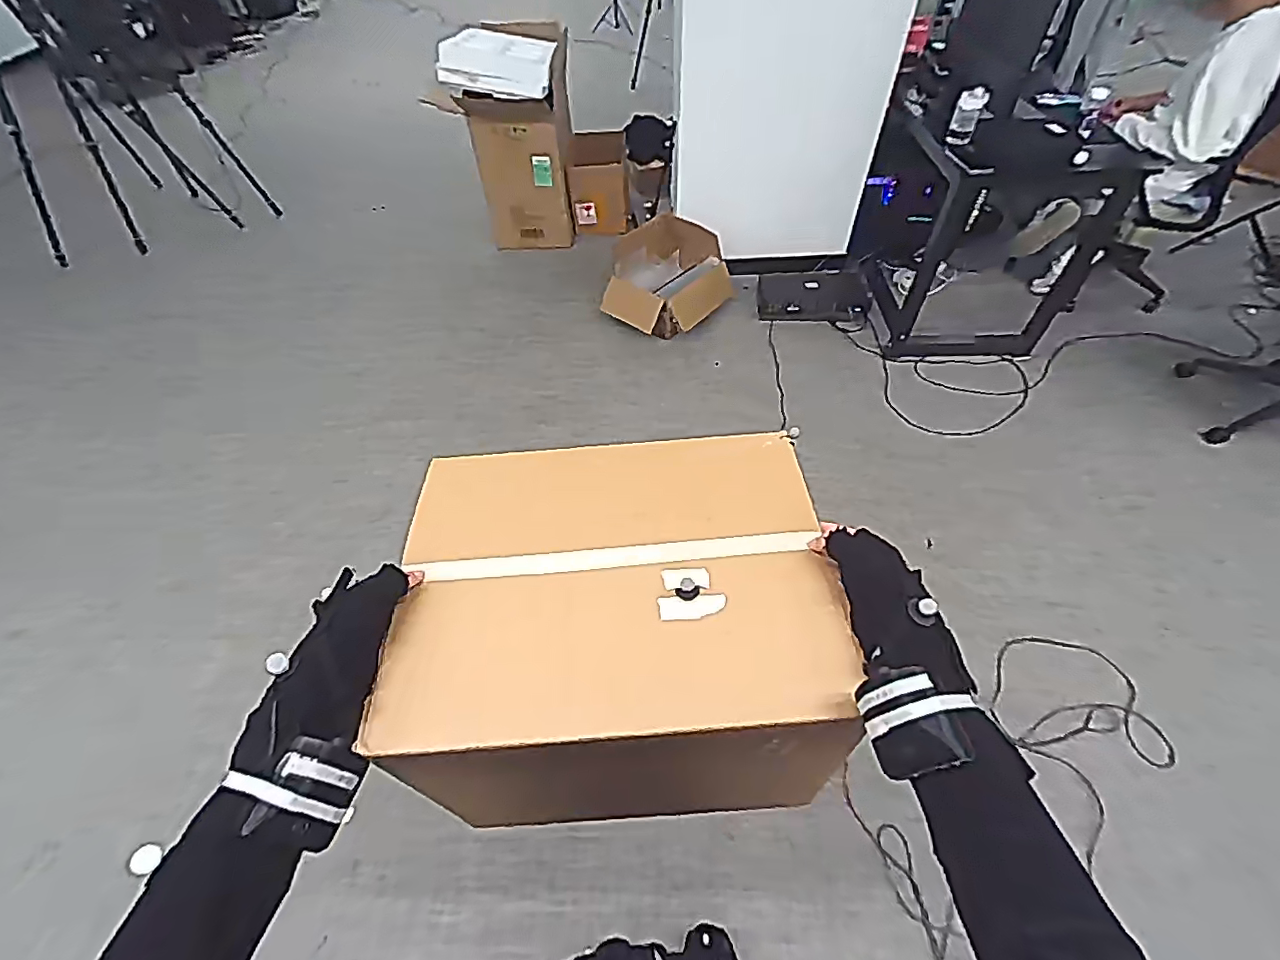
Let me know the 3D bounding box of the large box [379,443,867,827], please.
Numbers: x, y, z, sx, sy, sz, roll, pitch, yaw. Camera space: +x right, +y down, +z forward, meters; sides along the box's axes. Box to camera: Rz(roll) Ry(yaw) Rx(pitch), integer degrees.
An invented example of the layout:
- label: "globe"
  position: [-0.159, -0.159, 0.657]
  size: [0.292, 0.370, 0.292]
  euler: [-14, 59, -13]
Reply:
- label: "large box"
  position: [-0.016, 0.185, 0.639]
  size: [0.408, 0.320, 0.320]
  euler: [-5, 48, 0]
